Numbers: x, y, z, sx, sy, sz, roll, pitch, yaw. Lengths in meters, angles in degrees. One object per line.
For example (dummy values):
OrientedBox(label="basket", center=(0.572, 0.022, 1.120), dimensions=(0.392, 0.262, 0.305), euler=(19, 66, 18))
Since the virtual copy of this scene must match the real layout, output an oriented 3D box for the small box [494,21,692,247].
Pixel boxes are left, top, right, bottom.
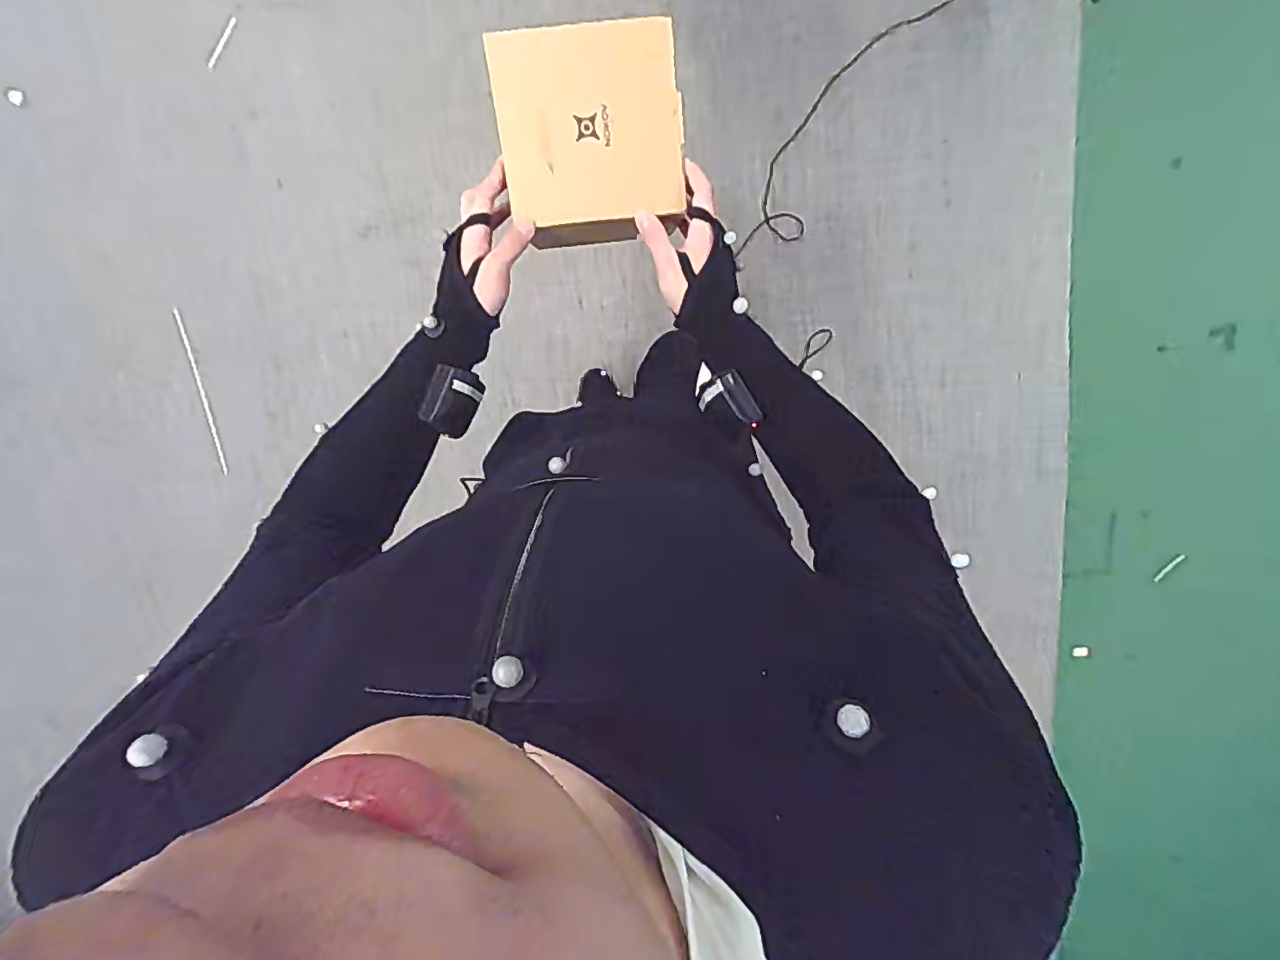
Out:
OrientedBox(label="small box", center=(-0.045, -0.357, 0.589), dimensions=(0.179, 0.176, 0.168), euler=(-5, 106, -1))
